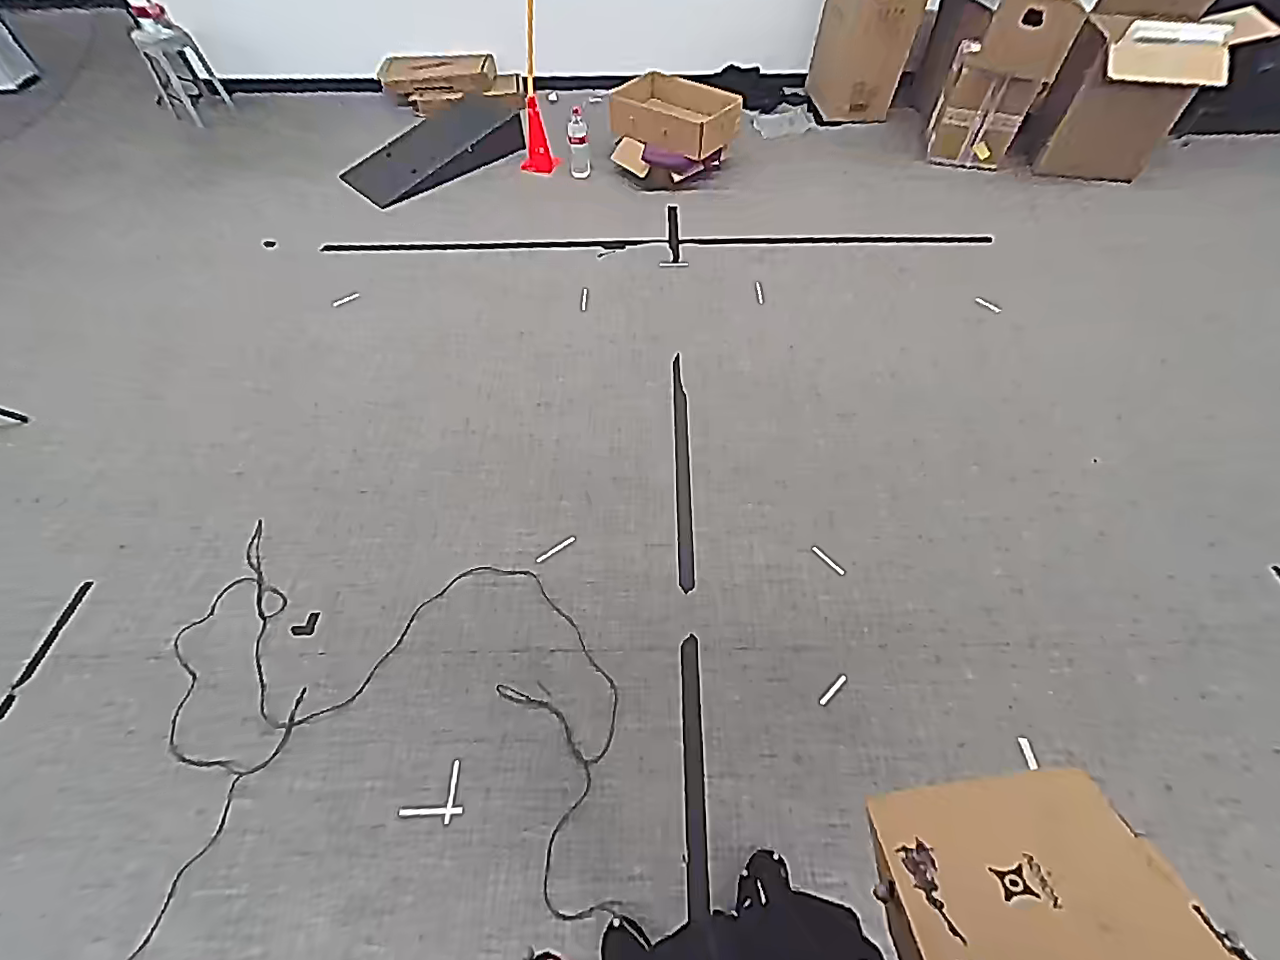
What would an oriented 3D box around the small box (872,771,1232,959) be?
[{"bbox_3d":[0.300,0.363,0.416,0.179,0.176,0.168,-13,19,9],"label":"small box"}]
